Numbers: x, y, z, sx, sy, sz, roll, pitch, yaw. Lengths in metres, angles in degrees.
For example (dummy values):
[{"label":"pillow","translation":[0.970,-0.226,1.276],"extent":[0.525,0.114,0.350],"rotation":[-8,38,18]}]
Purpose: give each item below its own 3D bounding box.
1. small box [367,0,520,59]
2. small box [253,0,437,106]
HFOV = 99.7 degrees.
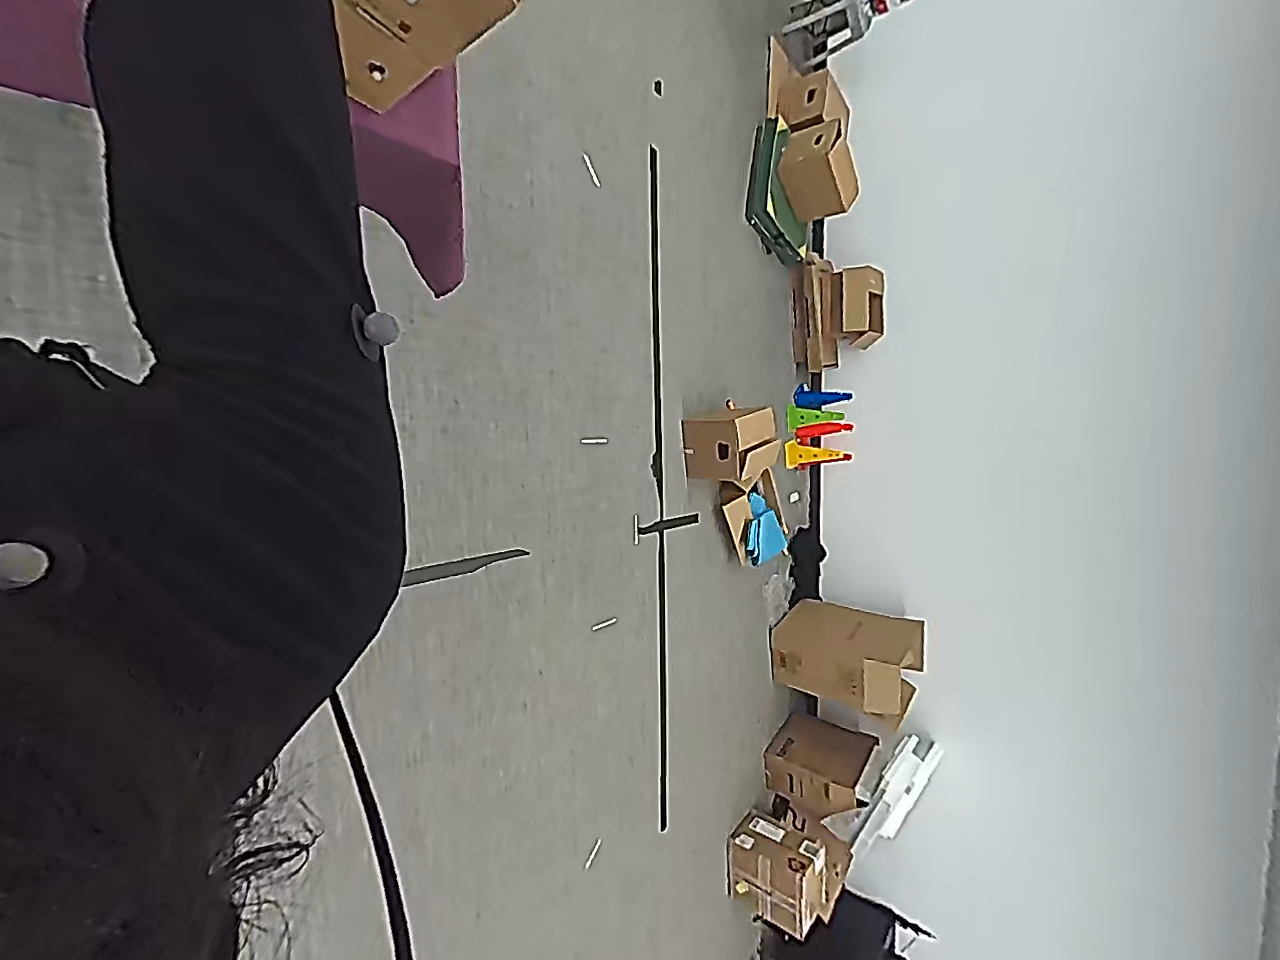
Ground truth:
[{"label":"small box","translation":[-0.238,-0.631,0.602],"extent":[0.168,0.176,0.179],"rotation":[13,83,-52]},{"label":"small box","translation":[-0.373,-0.636,0.697],"extent":[0.168,0.176,0.179],"rotation":[7,86,-53]}]
